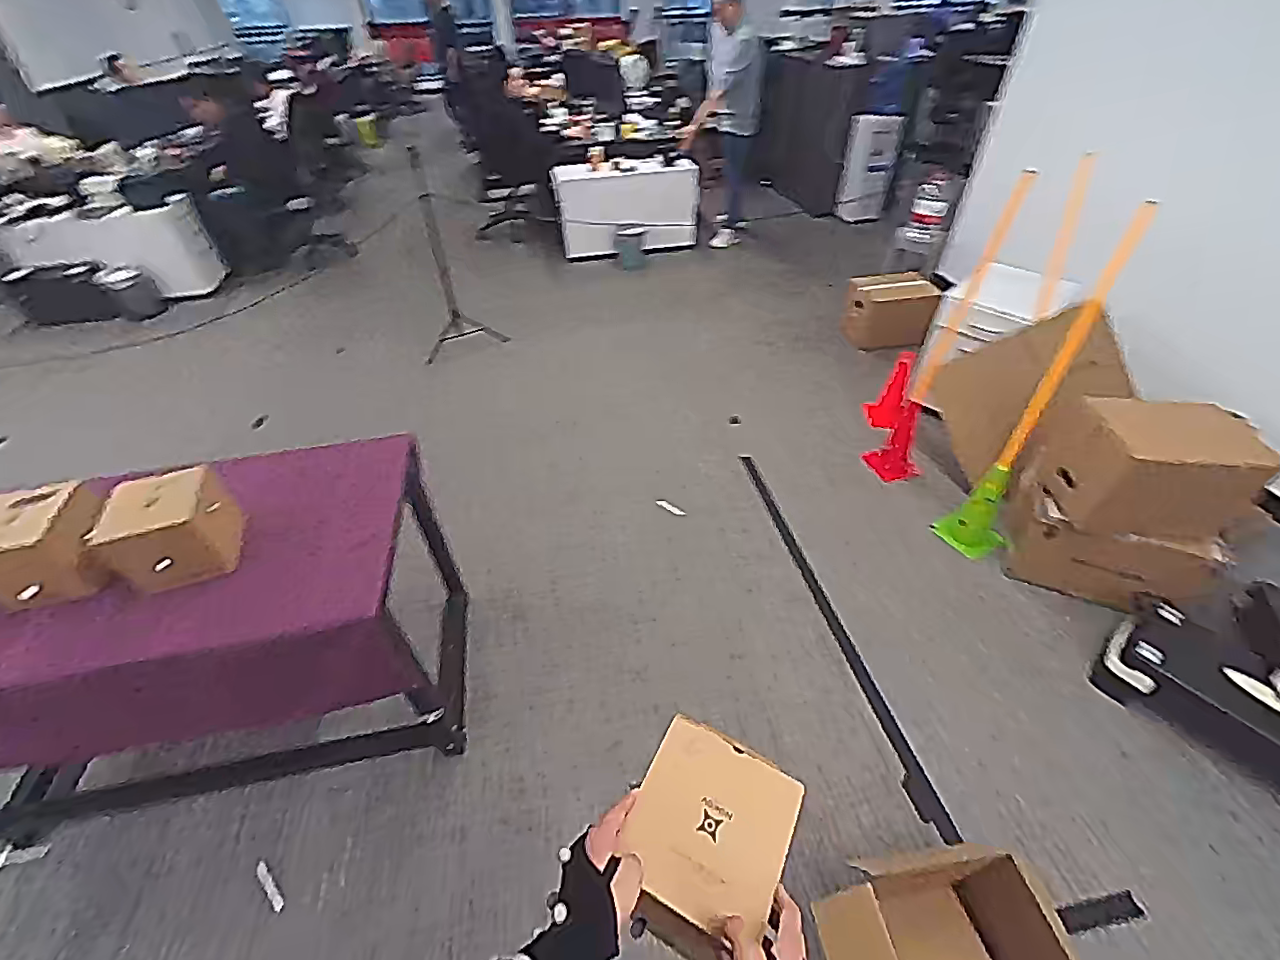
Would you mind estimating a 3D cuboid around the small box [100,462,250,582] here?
[{"bbox_3d":[-0.968,0.094,1.148,0.168,0.176,0.179,-14,44,-14],"label":"small box"}]

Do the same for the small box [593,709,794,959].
[{"bbox_3d":[0.056,0.417,0.637,0.168,0.176,0.179,25,45,14],"label":"small box"}]

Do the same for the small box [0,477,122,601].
[{"bbox_3d":[-1.219,0.123,1.126,0.168,0.176,0.179,-11,44,-10],"label":"small box"}]
